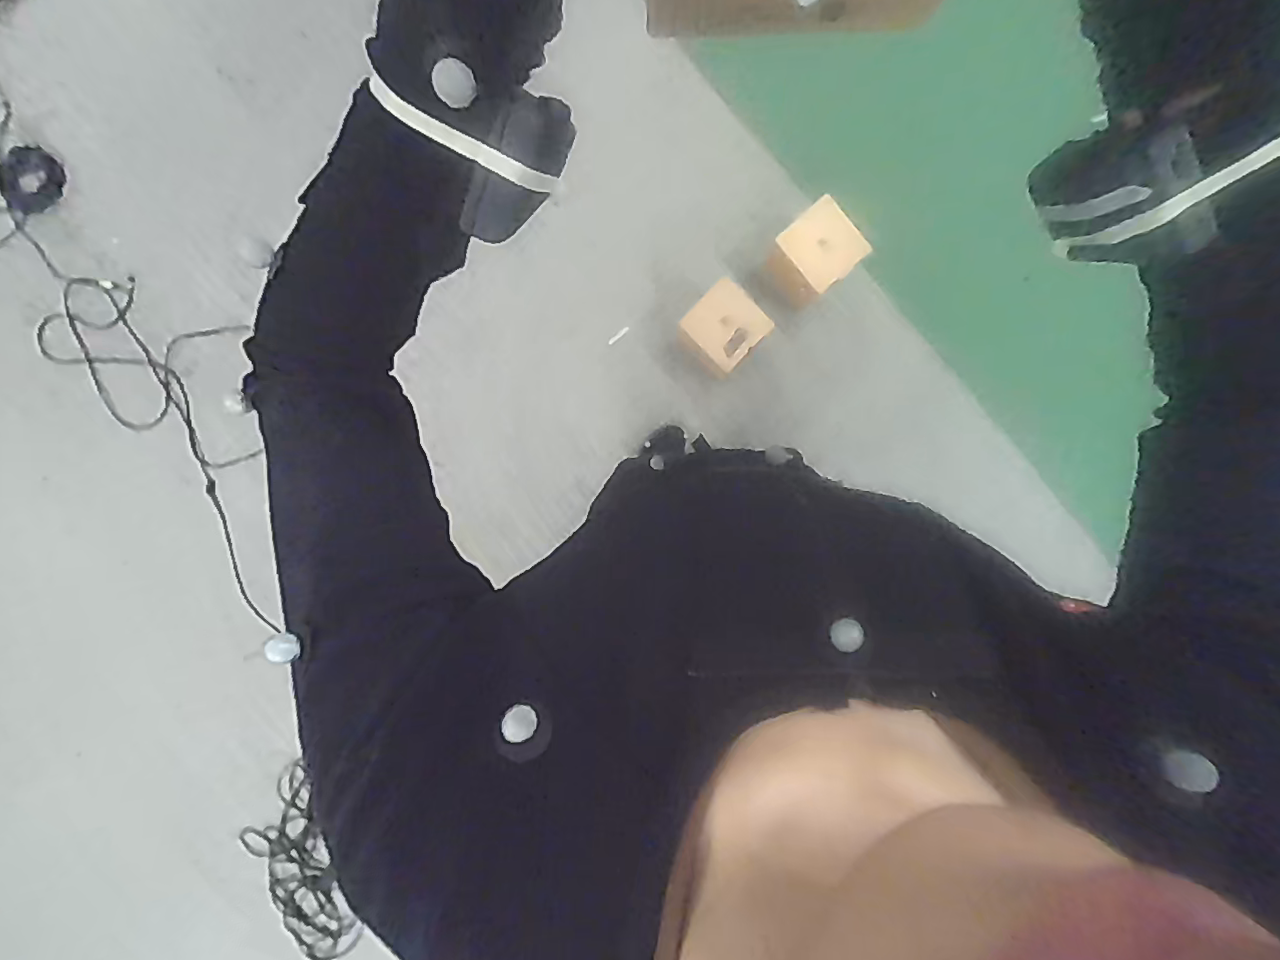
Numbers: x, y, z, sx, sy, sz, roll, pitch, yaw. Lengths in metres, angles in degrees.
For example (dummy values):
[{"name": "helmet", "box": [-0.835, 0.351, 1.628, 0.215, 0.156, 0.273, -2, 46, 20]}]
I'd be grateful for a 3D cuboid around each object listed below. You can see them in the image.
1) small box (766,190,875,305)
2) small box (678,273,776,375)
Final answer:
[{"name": "small box", "box": [0.440, -0.568, 1.351, 0.168, 0.176, 0.179, -41, 92, 4]}, {"name": "small box", "box": [0.213, -0.383, 1.368, 0.168, 0.176, 0.179, -45, 90, 3]}]
